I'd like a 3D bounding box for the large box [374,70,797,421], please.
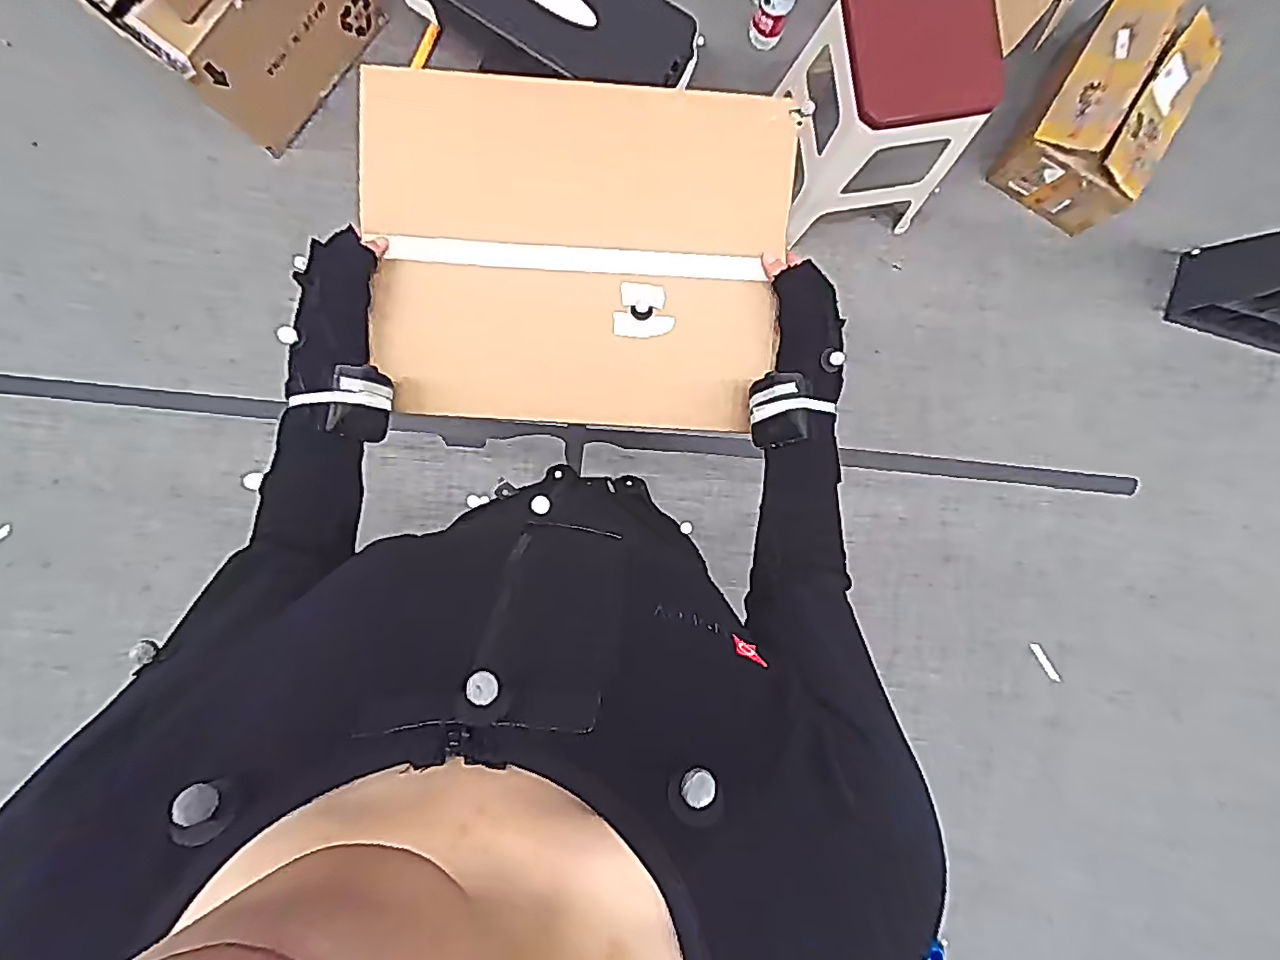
[{"bbox_3d":[-0.061,-0.239,0.672,0.408,0.320,0.320,3,99,-2],"label":"large box"}]
